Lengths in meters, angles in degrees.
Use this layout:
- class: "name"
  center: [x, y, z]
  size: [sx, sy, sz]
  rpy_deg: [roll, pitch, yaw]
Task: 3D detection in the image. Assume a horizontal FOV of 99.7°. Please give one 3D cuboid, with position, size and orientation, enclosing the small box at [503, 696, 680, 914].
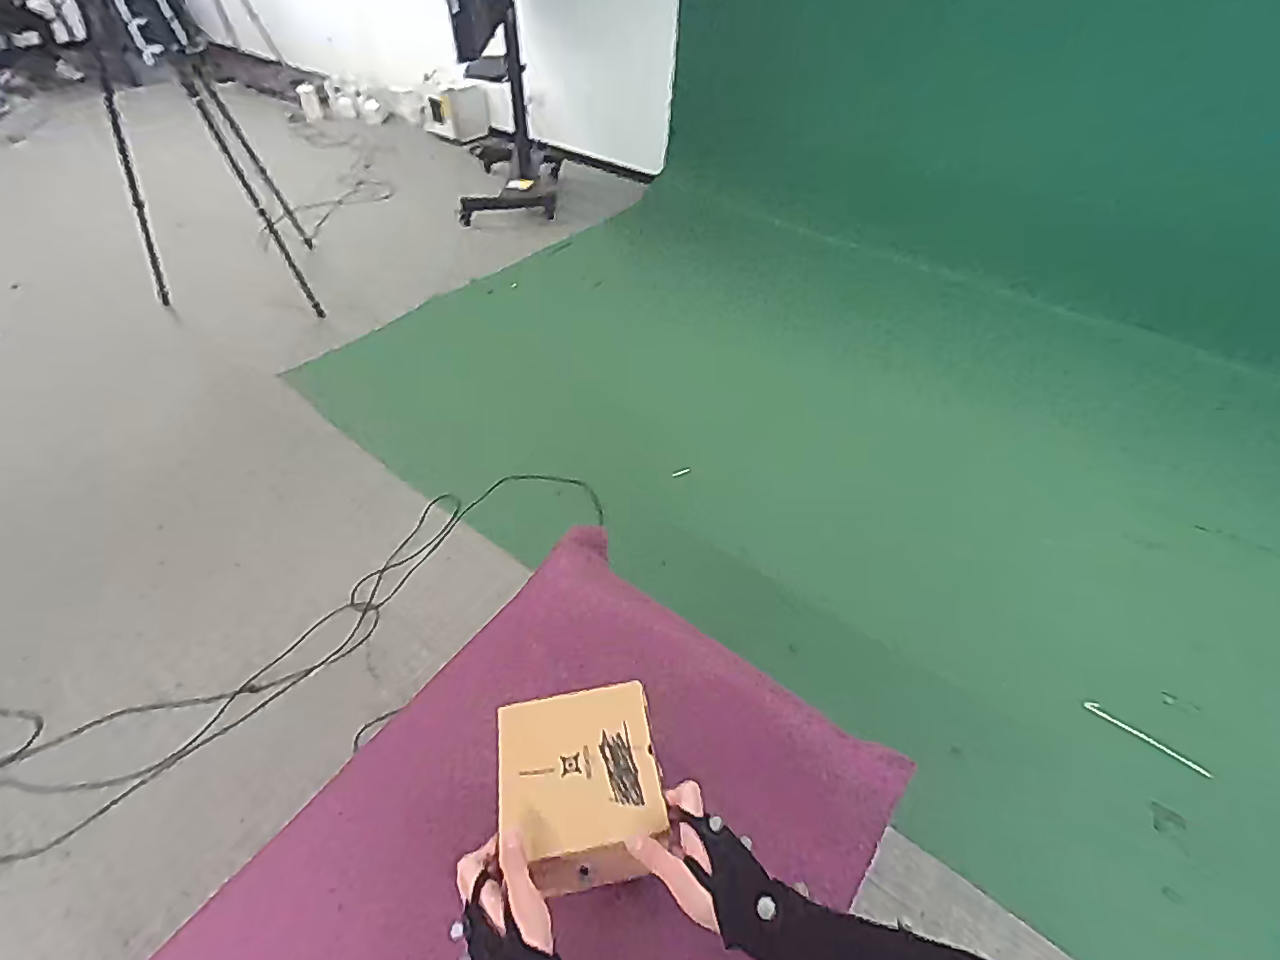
- class: "small box"
  center: [-0.059, 0.381, 0.635]
  size: [0.179, 0.176, 0.168]
  rpy_deg: [-6, 43, -7]
